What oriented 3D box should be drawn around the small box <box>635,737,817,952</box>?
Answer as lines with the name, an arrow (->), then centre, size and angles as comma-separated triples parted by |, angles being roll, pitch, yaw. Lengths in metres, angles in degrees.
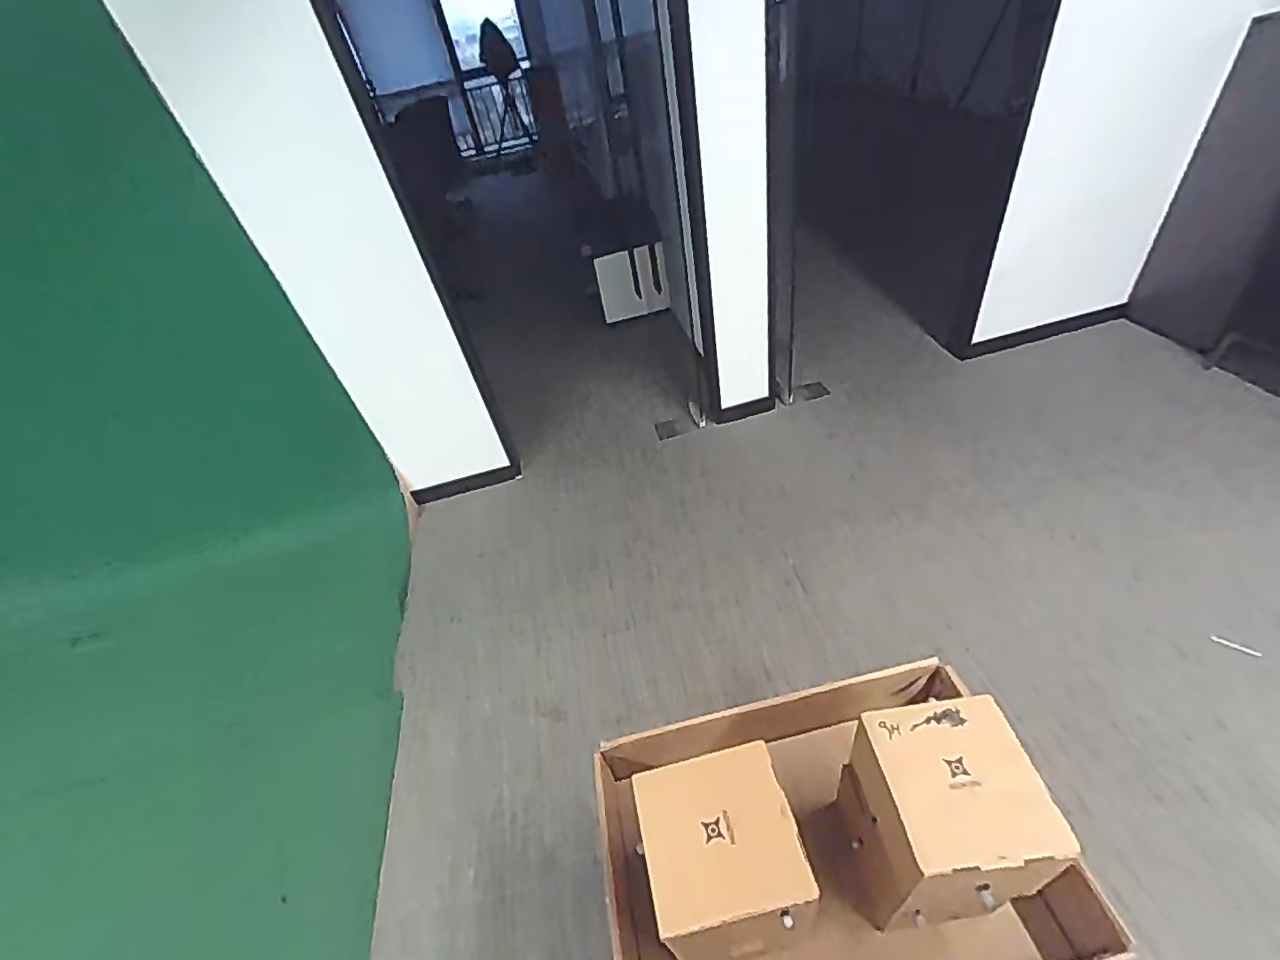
small box -> 0.105, 0.458, 0.679 | 0.179, 0.176, 0.168 | -14, 41, -2

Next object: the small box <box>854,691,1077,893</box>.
small box -> 0.380, 0.392, 0.672 | 0.168, 0.176, 0.179 | -10, 43, 5
